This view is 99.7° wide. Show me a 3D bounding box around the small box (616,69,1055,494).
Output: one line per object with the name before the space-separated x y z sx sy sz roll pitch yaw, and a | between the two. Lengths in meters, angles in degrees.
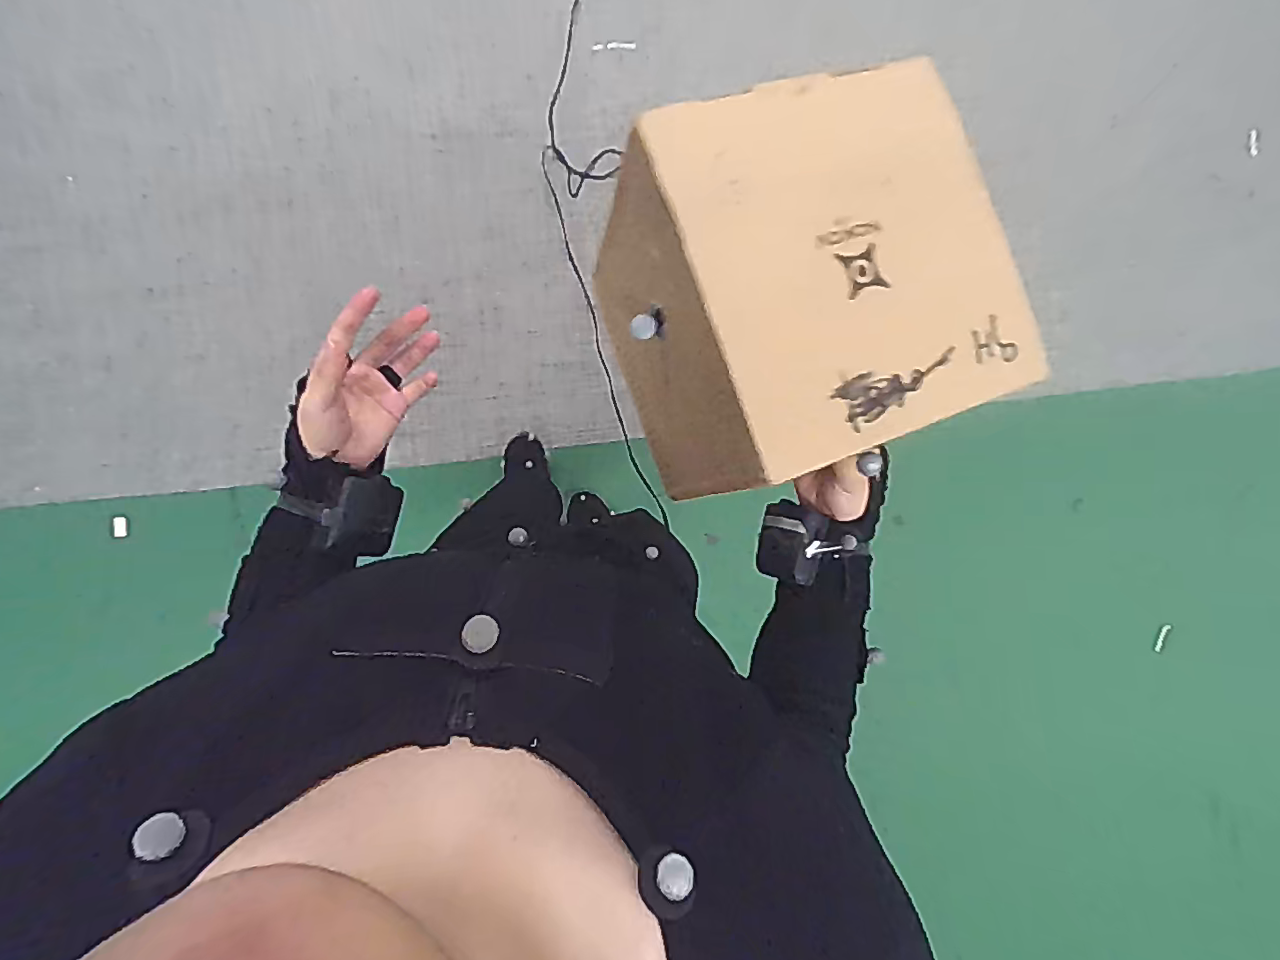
small box | 0.095 -0.101 0.342 0.168 0.176 0.179 -20 89 -12
